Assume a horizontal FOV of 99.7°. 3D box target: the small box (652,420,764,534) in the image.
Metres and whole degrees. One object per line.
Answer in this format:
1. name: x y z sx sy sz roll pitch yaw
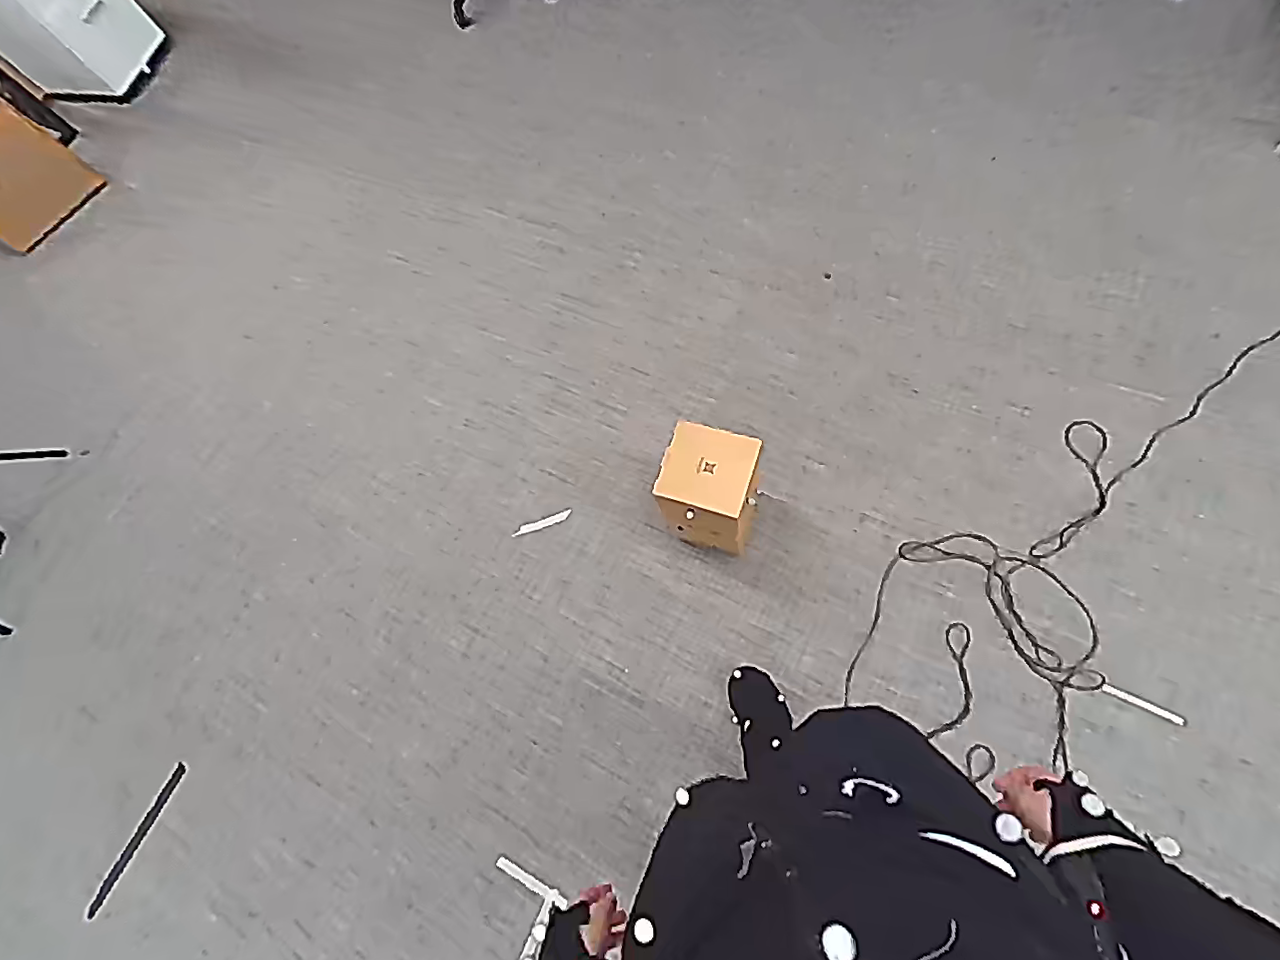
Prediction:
1. small box: 0.145 0.001 1.104 0.179 0.176 0.168 15 74 17
